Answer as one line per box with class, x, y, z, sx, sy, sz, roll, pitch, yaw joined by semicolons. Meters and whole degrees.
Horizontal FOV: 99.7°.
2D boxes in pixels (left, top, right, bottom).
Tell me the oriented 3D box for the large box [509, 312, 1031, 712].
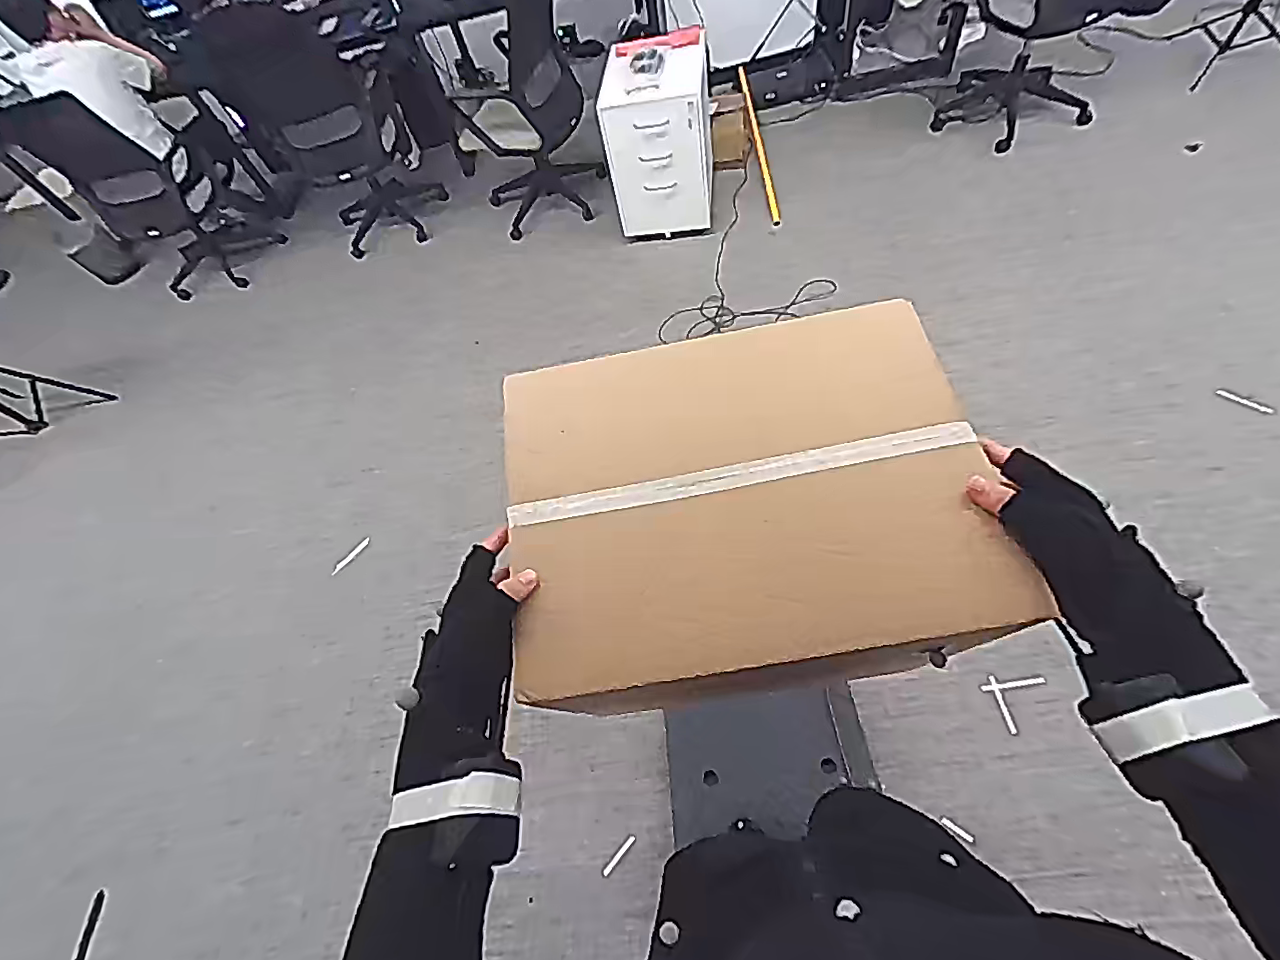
large box;0.101;0.066;0.613;0.408;0.320;0.320;-10;63;3
